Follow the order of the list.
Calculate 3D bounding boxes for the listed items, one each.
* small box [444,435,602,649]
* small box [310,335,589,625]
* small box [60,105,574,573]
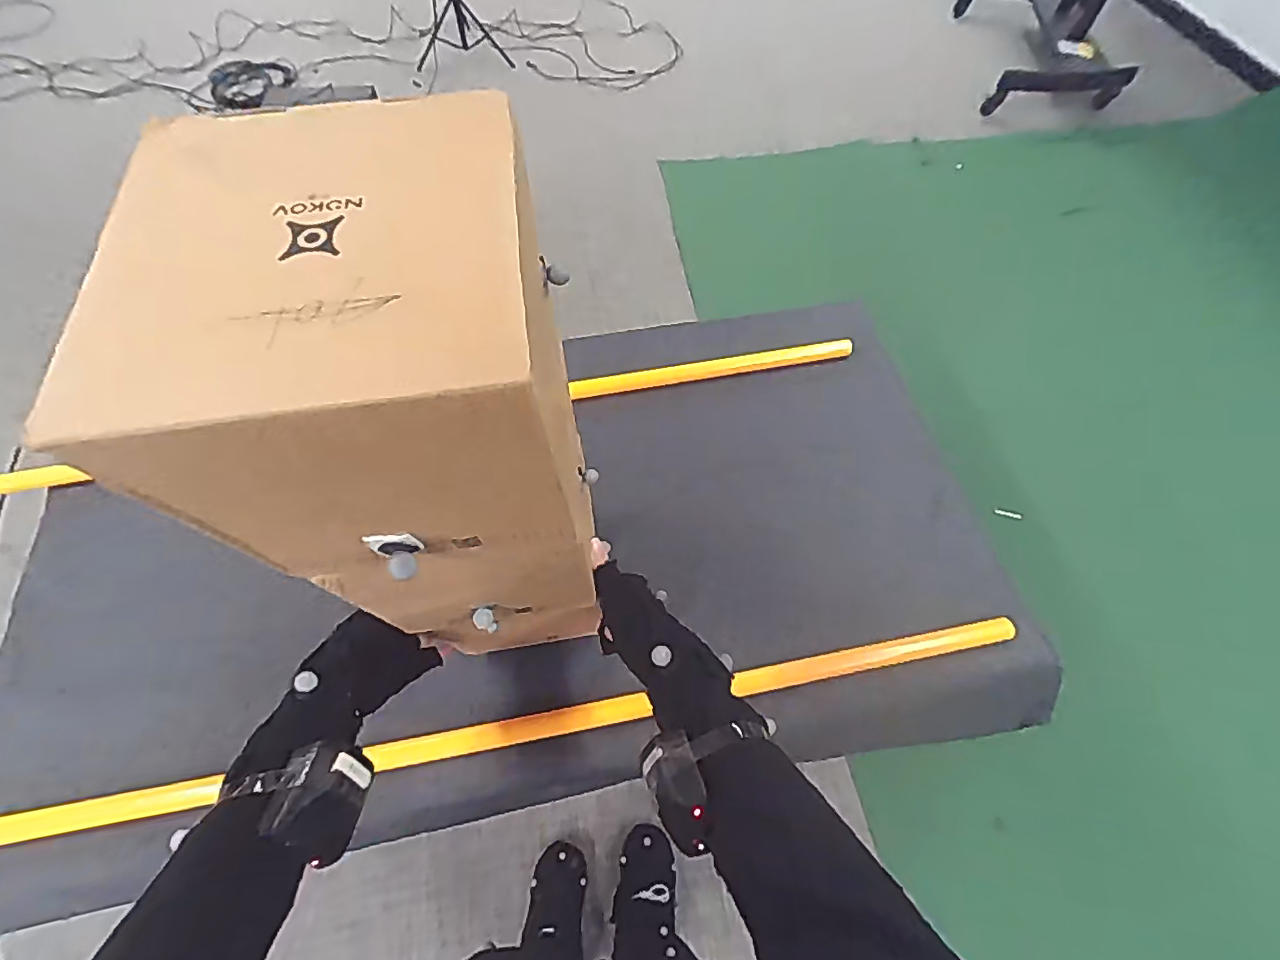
[{"bbox_3d":[-0.134,0.074,0.596,0.168,0.176,0.179,-8,63,-4],"label":"small box"},{"bbox_3d":[-0.134,0.006,0.444,0.168,0.176,0.179,-7,64,-5],"label":"small box"},{"bbox_3d":[-0.132,-0.064,0.299,0.168,0.176,0.179,-8,65,-4],"label":"small box"}]
